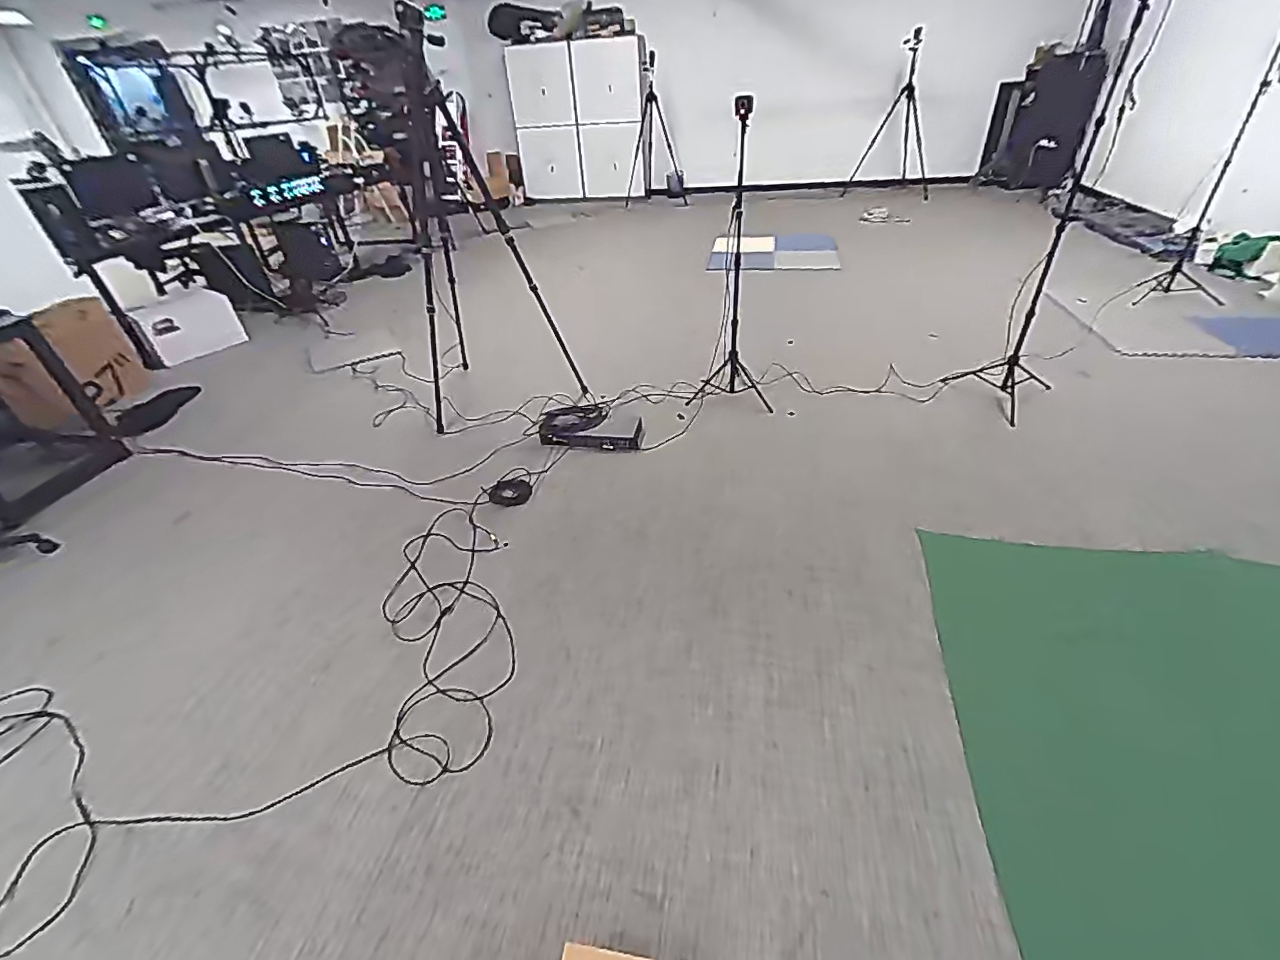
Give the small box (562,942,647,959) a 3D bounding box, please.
[{"bbox_3d":[-0.058,0.951,0.948,0.179,0.176,0.168,3,38,10],"label":"small box"}]
